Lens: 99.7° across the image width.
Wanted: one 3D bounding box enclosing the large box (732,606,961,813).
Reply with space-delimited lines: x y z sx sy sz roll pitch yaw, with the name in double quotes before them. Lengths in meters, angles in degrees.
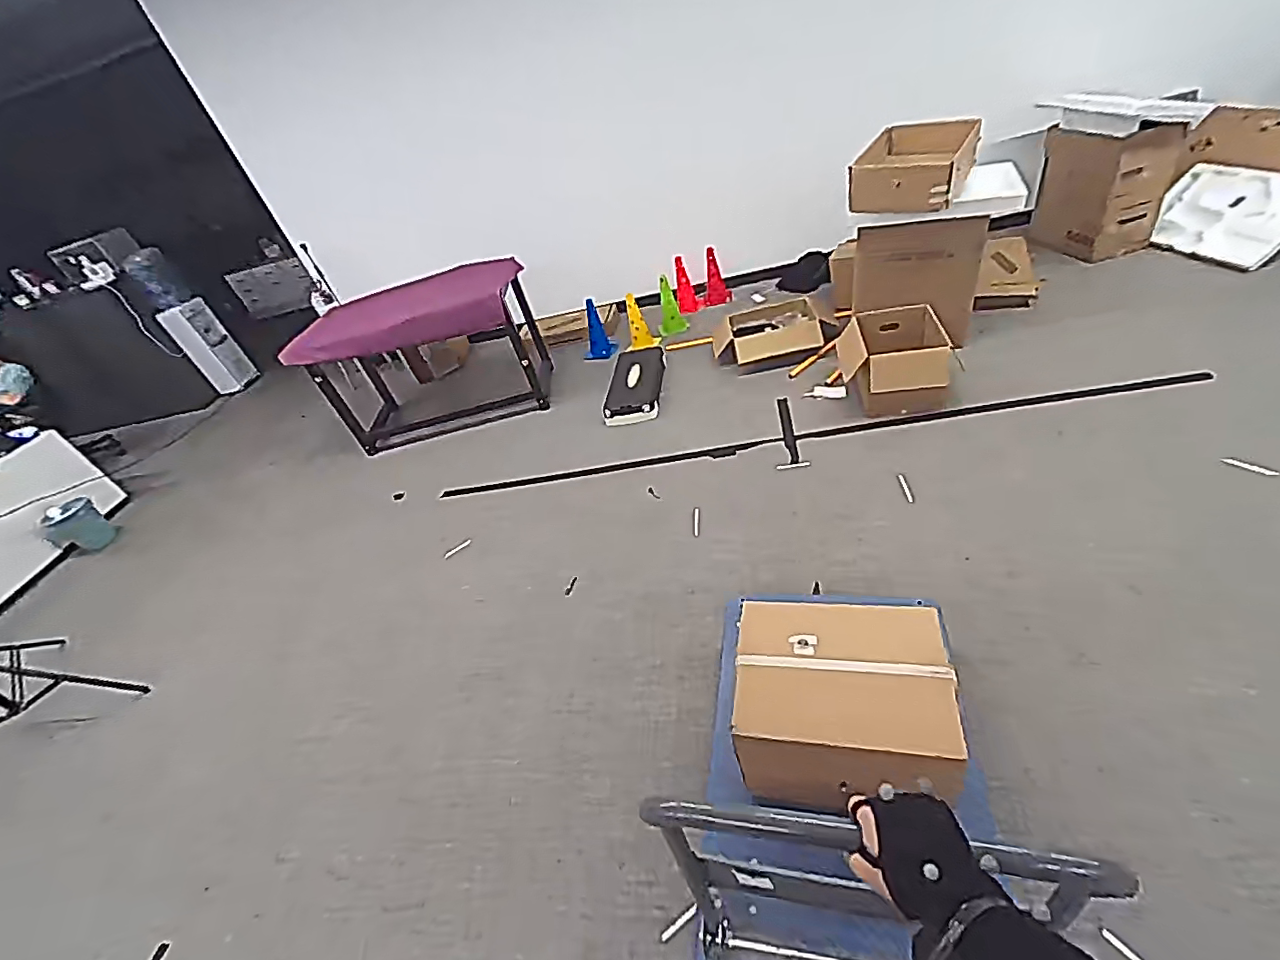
"large box" 0.436 0.495 1.193 0.408 0.320 0.320 -4 39 19
